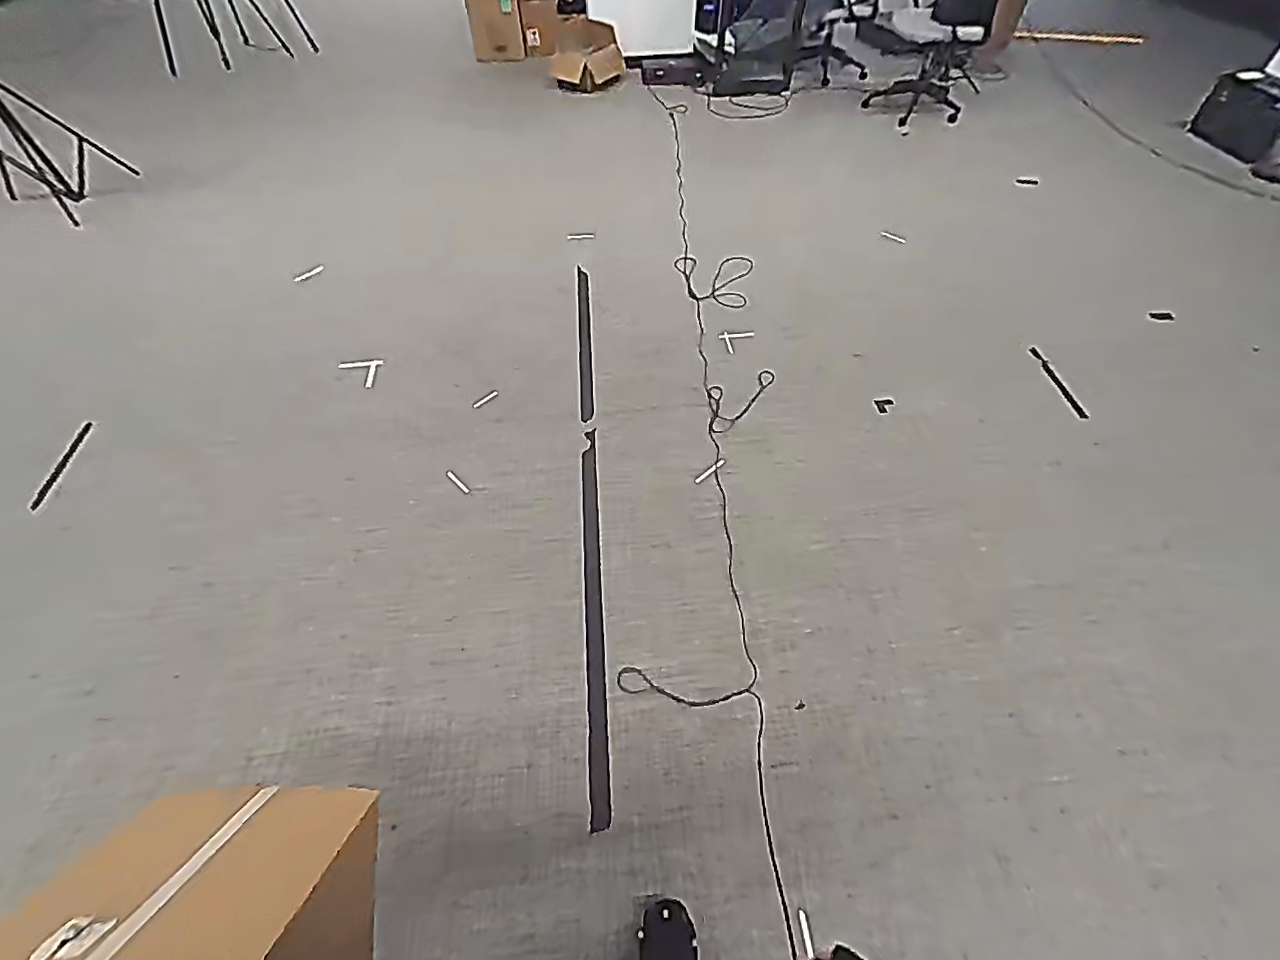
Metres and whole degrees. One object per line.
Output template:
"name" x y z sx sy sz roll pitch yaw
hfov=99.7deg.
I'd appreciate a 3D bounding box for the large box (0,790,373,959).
"large box" -0.558 0.641 0.640 0.320 0.408 0.320 3 92 -4
